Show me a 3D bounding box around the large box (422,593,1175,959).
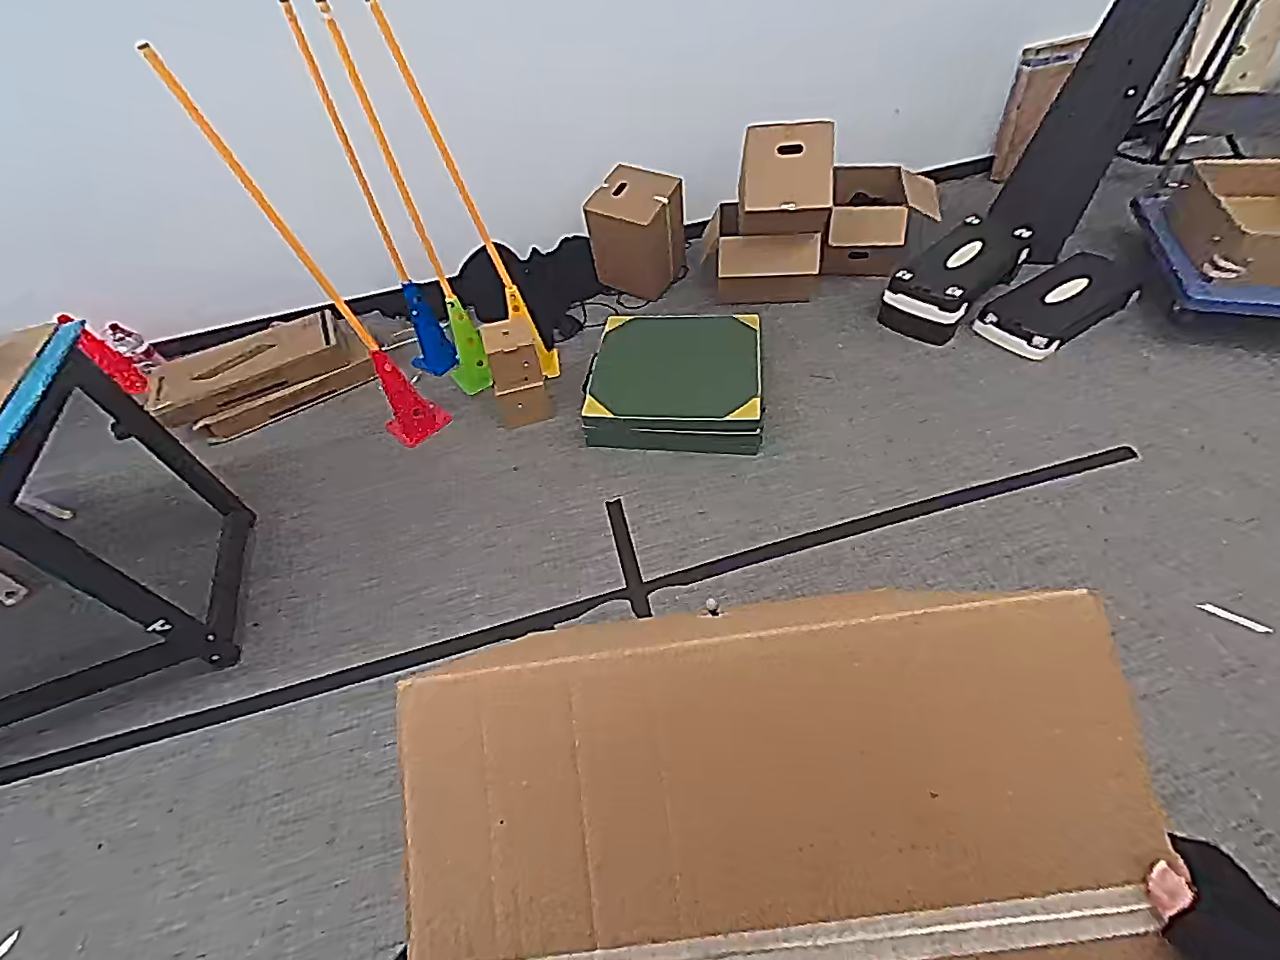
[{"bbox_3d":[0.093,0.280,0.443,0.408,0.320,0.320,-8,78,2],"label":"large box"}]
